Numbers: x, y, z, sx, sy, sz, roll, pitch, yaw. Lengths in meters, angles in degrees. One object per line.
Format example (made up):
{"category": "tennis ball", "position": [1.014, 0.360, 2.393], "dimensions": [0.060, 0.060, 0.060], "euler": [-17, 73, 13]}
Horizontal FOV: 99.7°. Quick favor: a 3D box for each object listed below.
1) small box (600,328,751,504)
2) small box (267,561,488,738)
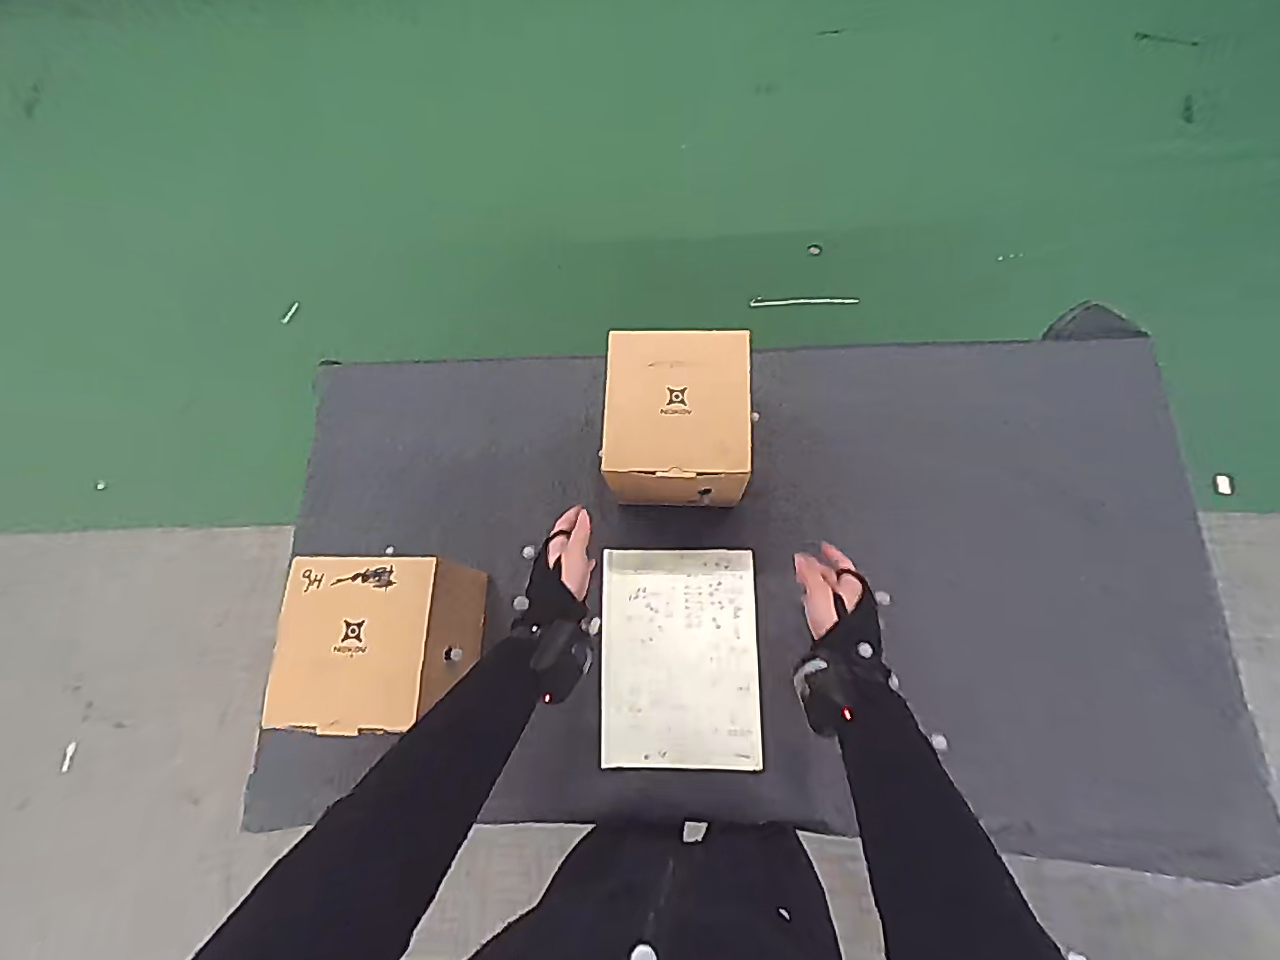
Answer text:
{"category": "small box", "position": [0.046, -0.069, 0.675], "dimensions": [0.168, 0.176, 0.179], "euler": [1, 75, 3]}
{"category": "small box", "position": [-0.292, 0.194, 0.644], "dimensions": [0.168, 0.176, 0.179], "euler": [0, 74, 5]}
